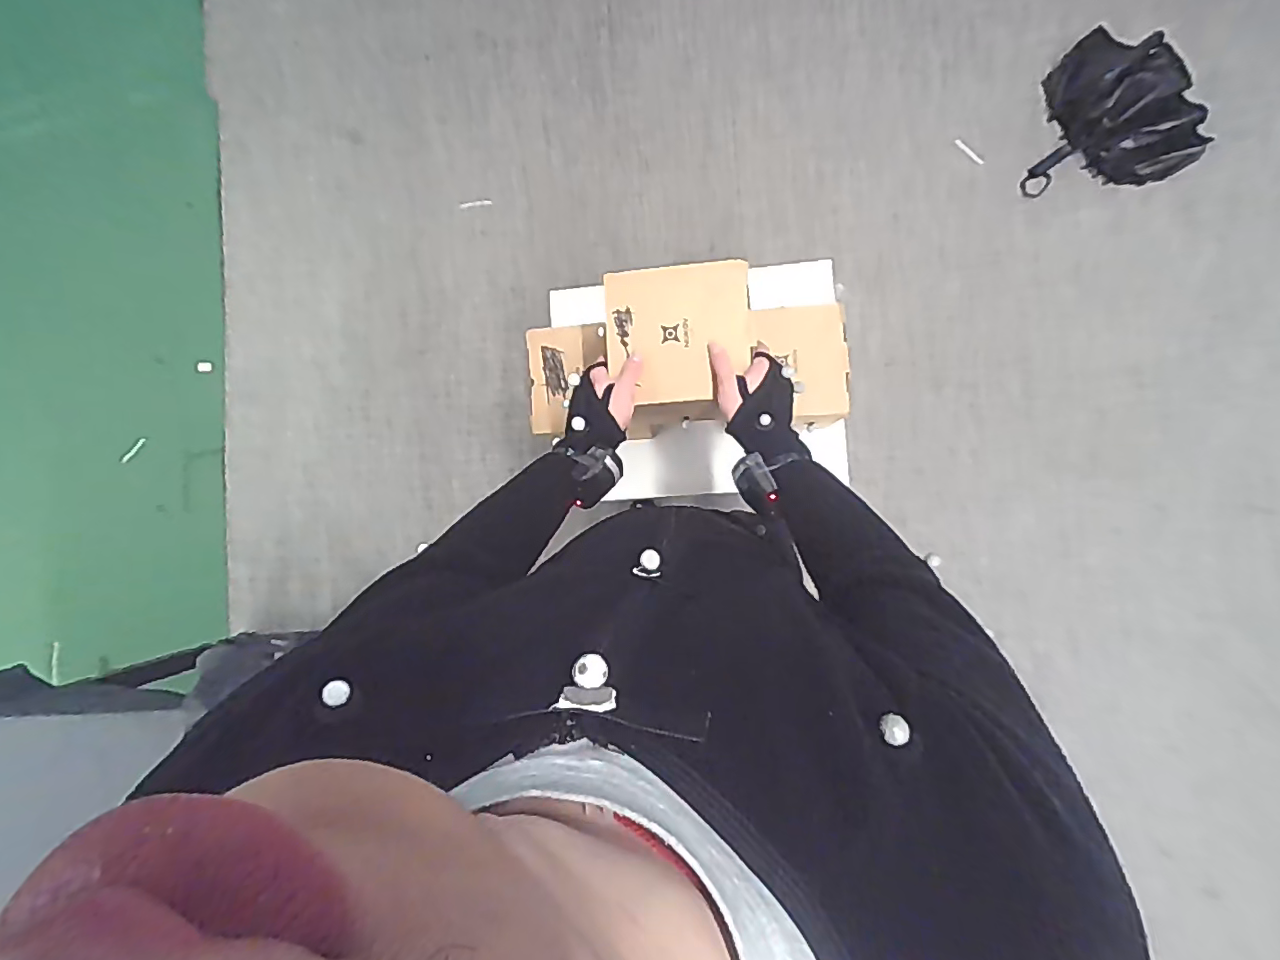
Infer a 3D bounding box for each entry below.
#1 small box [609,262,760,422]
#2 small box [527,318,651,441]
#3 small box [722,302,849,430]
[{"bbox_3d":[0.058,-0.171,0.719,0.179,0.176,0.168,-3,89,5],"label":"small box"},{"bbox_3d":[-0.077,-0.157,0.894,0.179,0.176,0.168,-4,89,4],"label":"small box"},{"bbox_3d":[0.221,-0.172,0.865,0.179,0.176,0.168,-2,88,7],"label":"small box"}]
